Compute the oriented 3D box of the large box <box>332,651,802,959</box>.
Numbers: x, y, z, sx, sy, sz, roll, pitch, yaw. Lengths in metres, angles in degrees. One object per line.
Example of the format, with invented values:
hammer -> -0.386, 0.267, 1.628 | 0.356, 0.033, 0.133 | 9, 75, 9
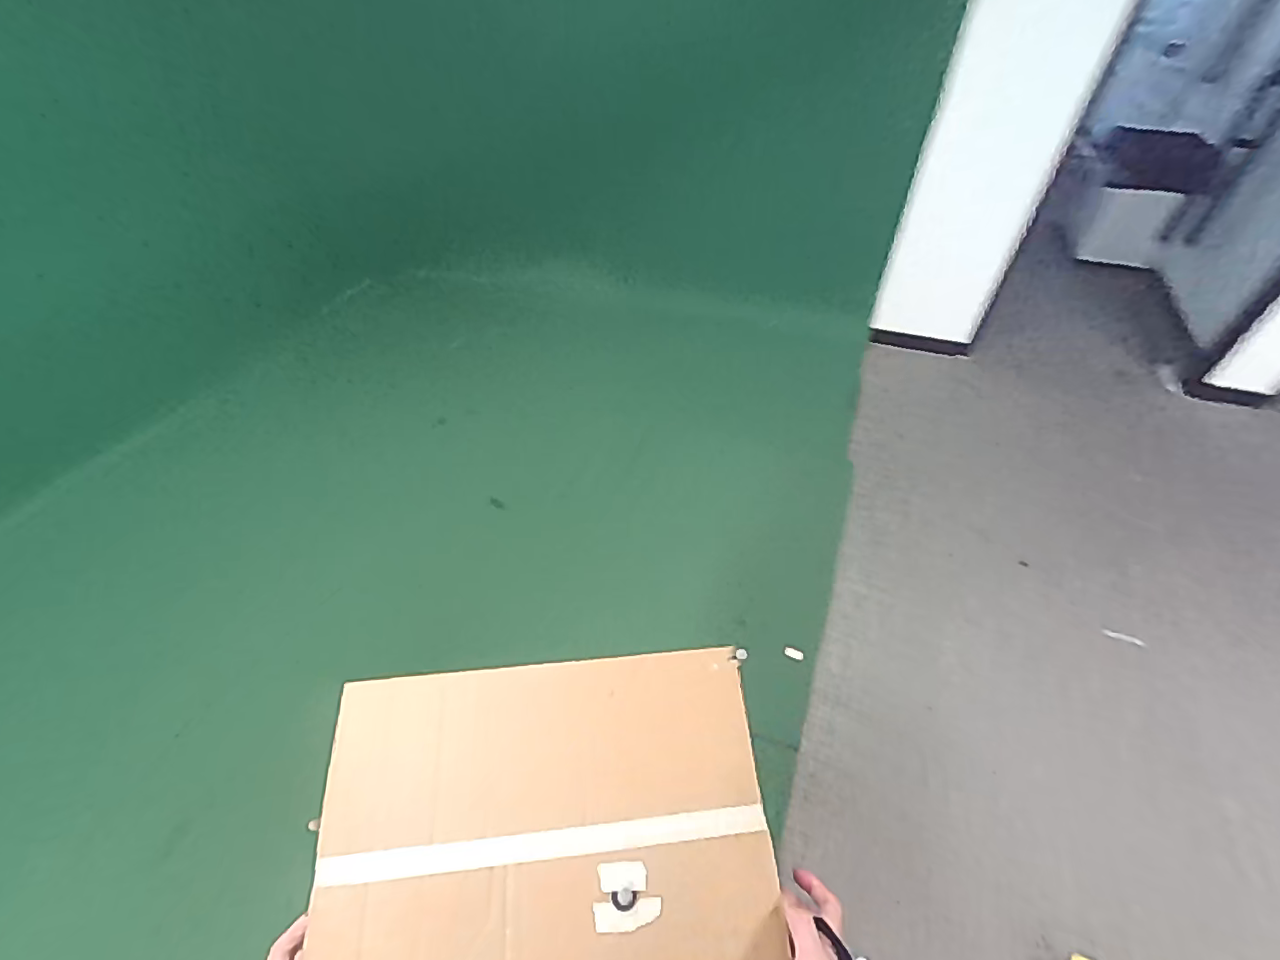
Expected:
large box -> -0.075, 0.406, 0.629 | 0.408, 0.320, 0.320 | -4, 62, -5
